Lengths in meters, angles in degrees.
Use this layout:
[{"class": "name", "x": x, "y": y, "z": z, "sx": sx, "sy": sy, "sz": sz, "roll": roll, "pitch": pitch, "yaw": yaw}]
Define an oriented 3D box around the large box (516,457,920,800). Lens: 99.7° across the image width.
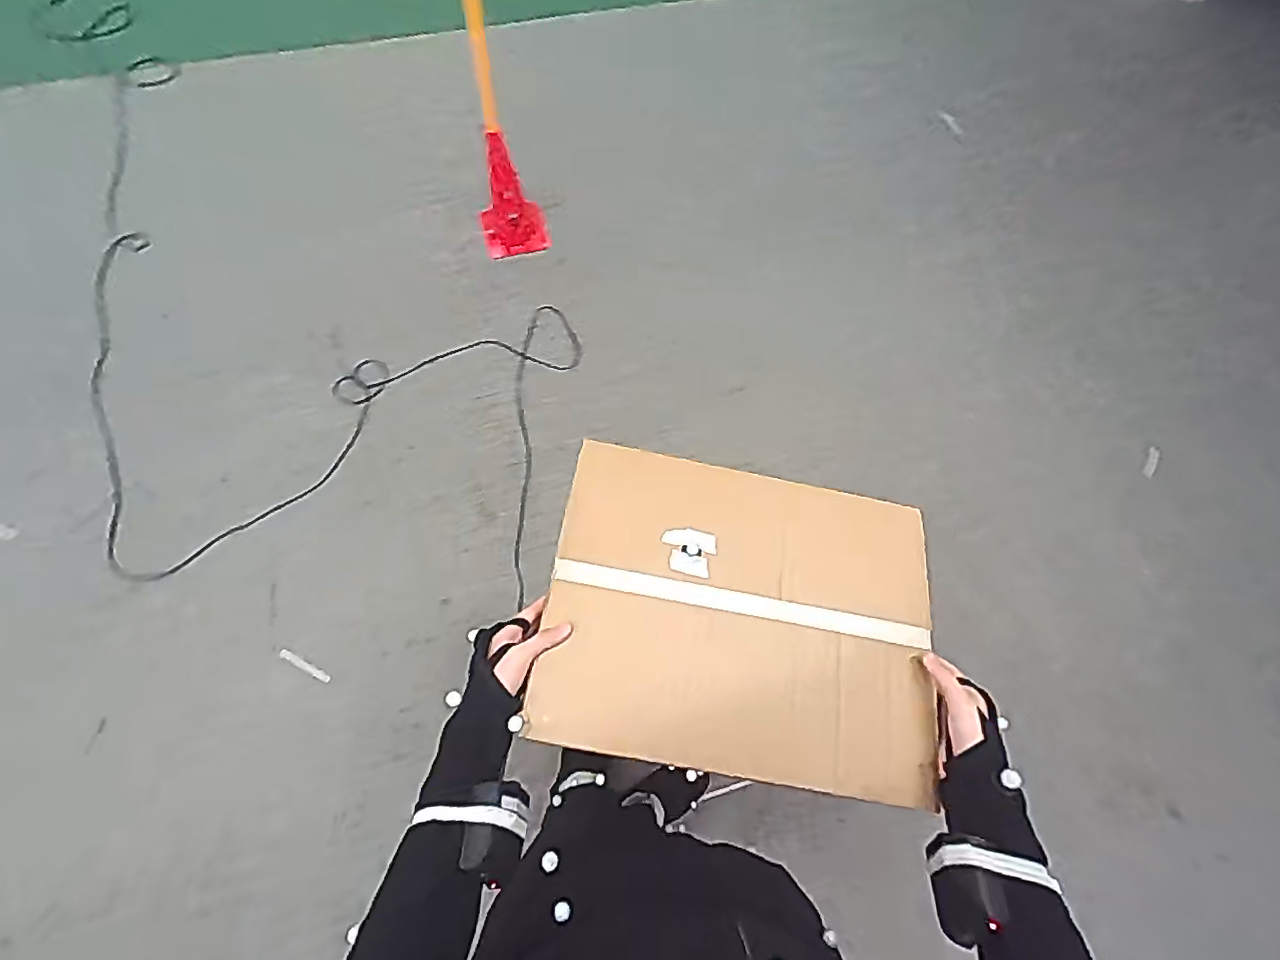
[{"class": "large box", "x": 0.082, "y": 0.200, "z": 0.710, "sx": 0.408, "sy": 0.320, "sz": 0.320, "roll": 10, "pitch": 64, "yaw": -3}]
